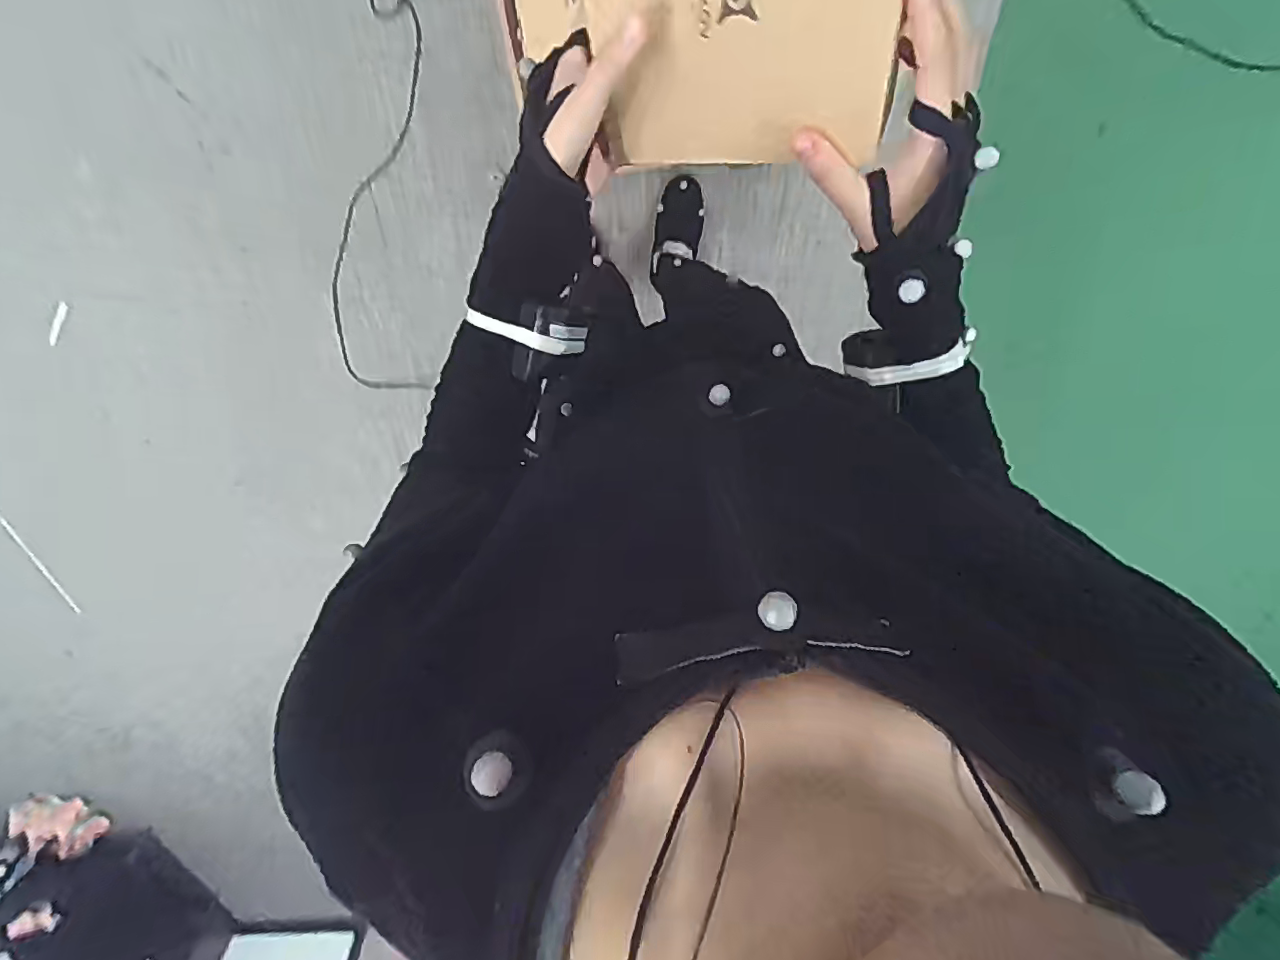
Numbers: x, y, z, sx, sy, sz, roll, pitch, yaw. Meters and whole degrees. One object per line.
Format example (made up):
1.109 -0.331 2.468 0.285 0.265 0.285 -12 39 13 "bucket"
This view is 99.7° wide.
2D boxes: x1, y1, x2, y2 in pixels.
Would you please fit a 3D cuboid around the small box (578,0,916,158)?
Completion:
0.075 -0.317 0.326 0.179 0.176 0.168 13 142 23 "small box"

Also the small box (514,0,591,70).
-0.096 -0.735 0.824 0.179 0.176 0.168 -4 126 -1 "small box"
